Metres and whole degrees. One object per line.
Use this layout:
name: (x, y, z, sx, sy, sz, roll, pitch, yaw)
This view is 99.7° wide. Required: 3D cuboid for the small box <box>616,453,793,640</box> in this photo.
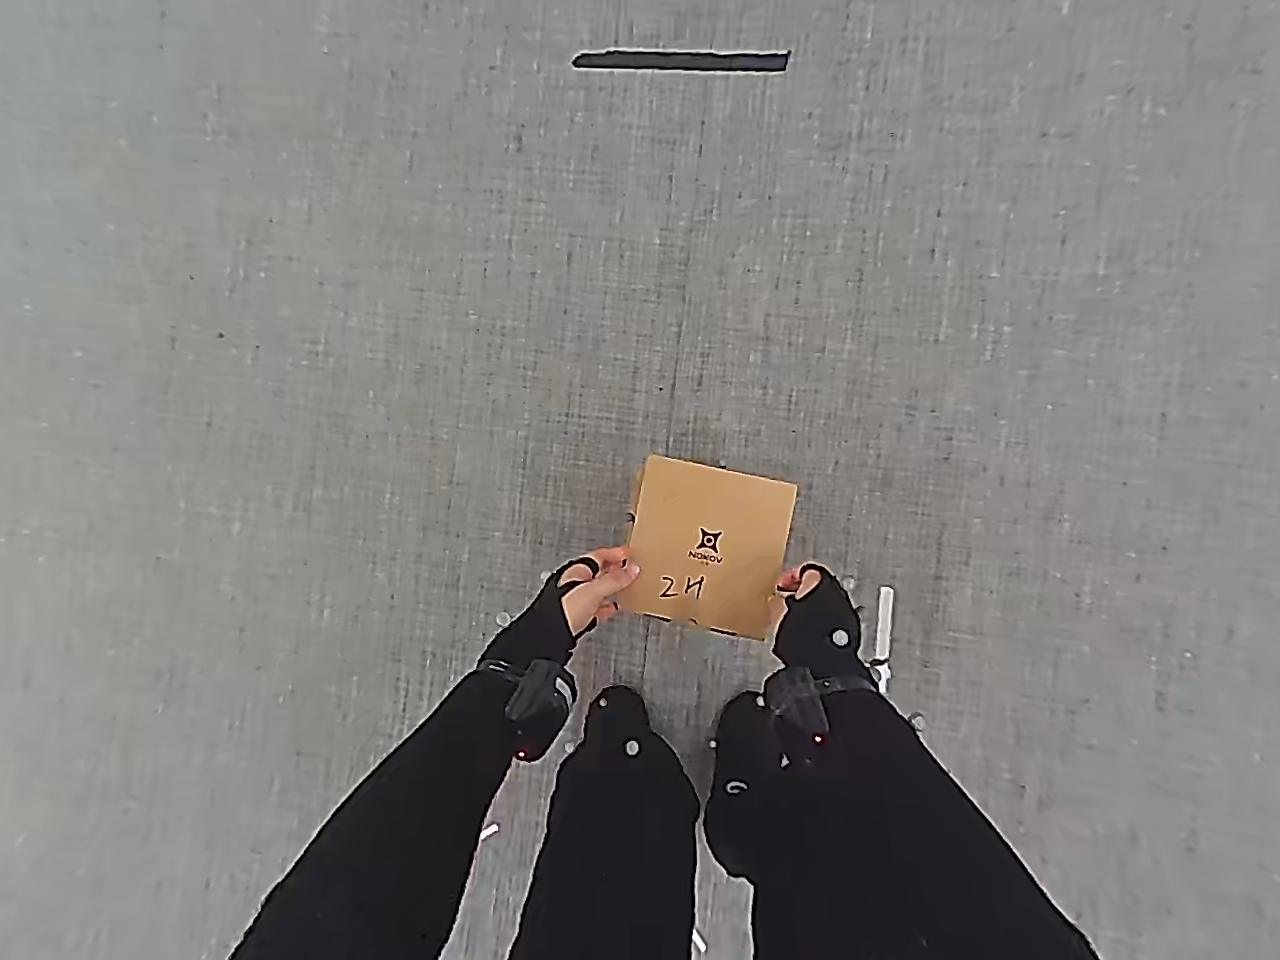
small box: (0.073, 0.071, 0.663, 0.168, 0.176, 0.179, 12, 91, 4)
